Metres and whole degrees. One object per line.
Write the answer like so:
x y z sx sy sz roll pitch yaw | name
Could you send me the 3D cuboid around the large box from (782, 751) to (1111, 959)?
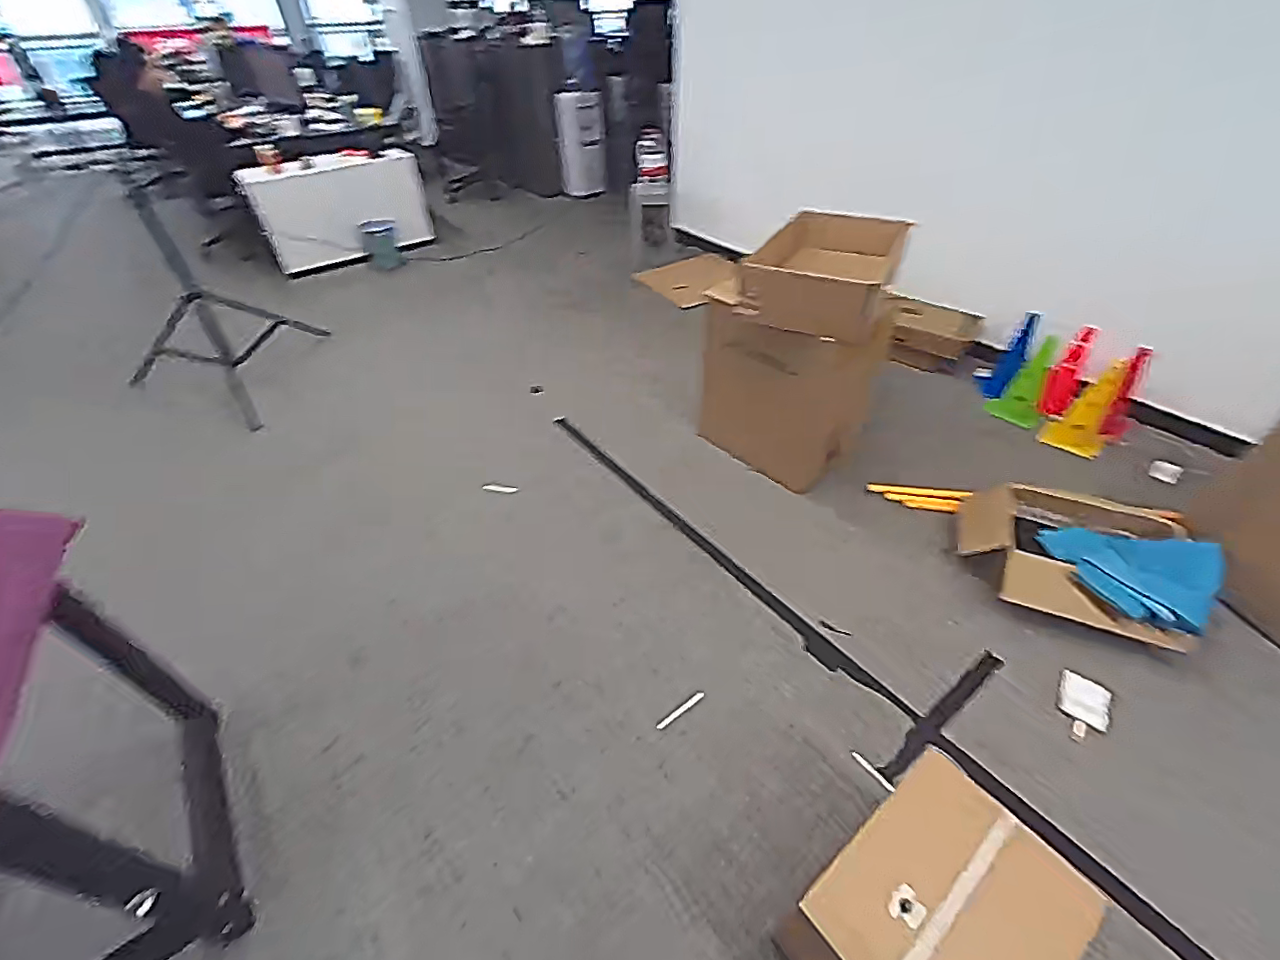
0.521 0.795 0.972 0.408 0.320 0.320 -29 48 -26 | large box
